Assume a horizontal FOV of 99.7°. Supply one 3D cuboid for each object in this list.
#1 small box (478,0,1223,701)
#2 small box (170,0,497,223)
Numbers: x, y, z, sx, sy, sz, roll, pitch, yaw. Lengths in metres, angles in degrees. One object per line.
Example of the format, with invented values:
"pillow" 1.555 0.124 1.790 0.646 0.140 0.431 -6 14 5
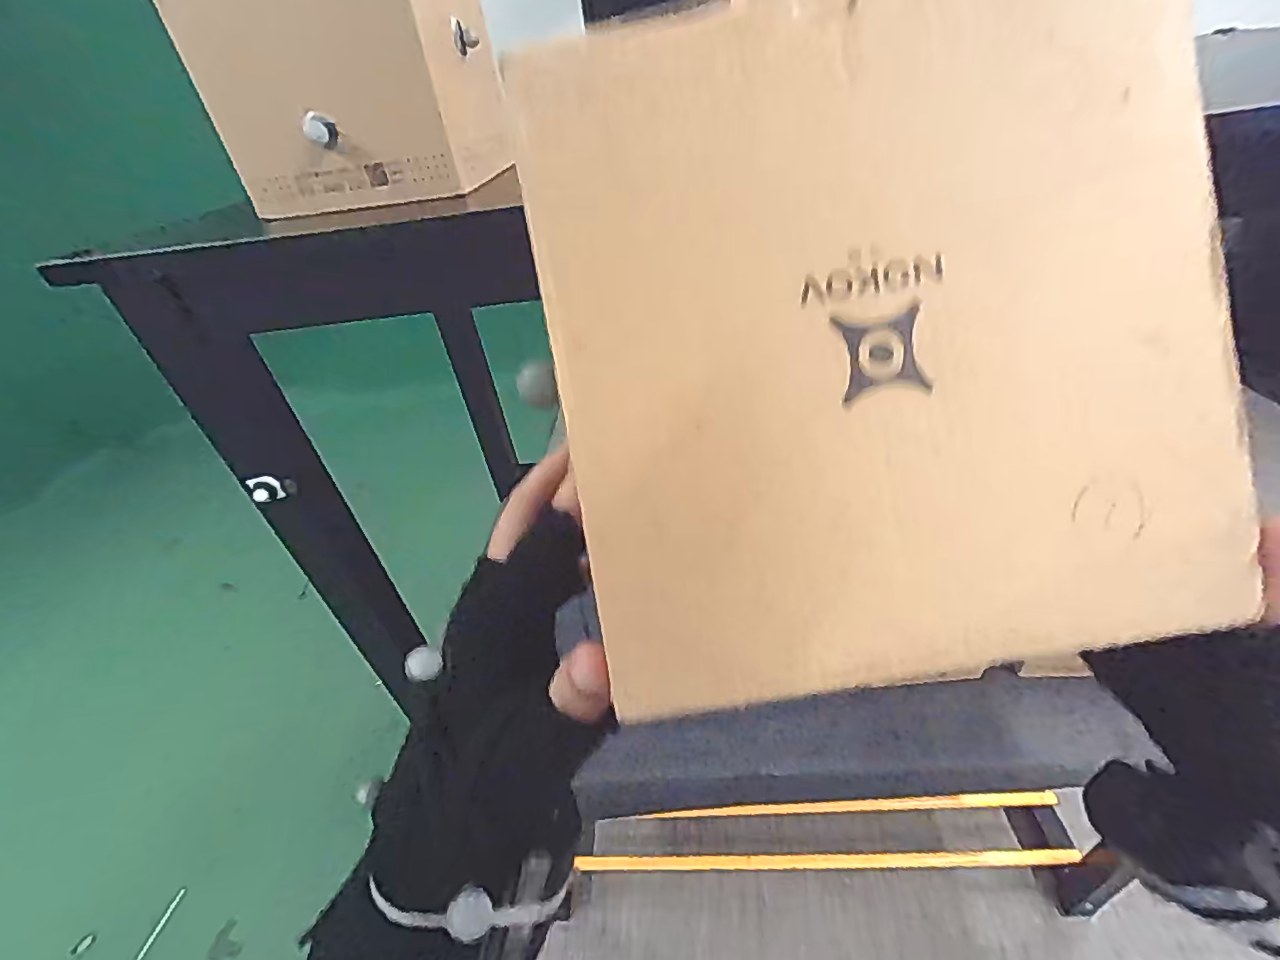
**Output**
"small box" 0.055 -0.042 0.217 0.168 0.179 0.176 -10 1 2
"small box" -0.217 -0.316 0.432 0.168 0.176 0.179 -4 37 6
